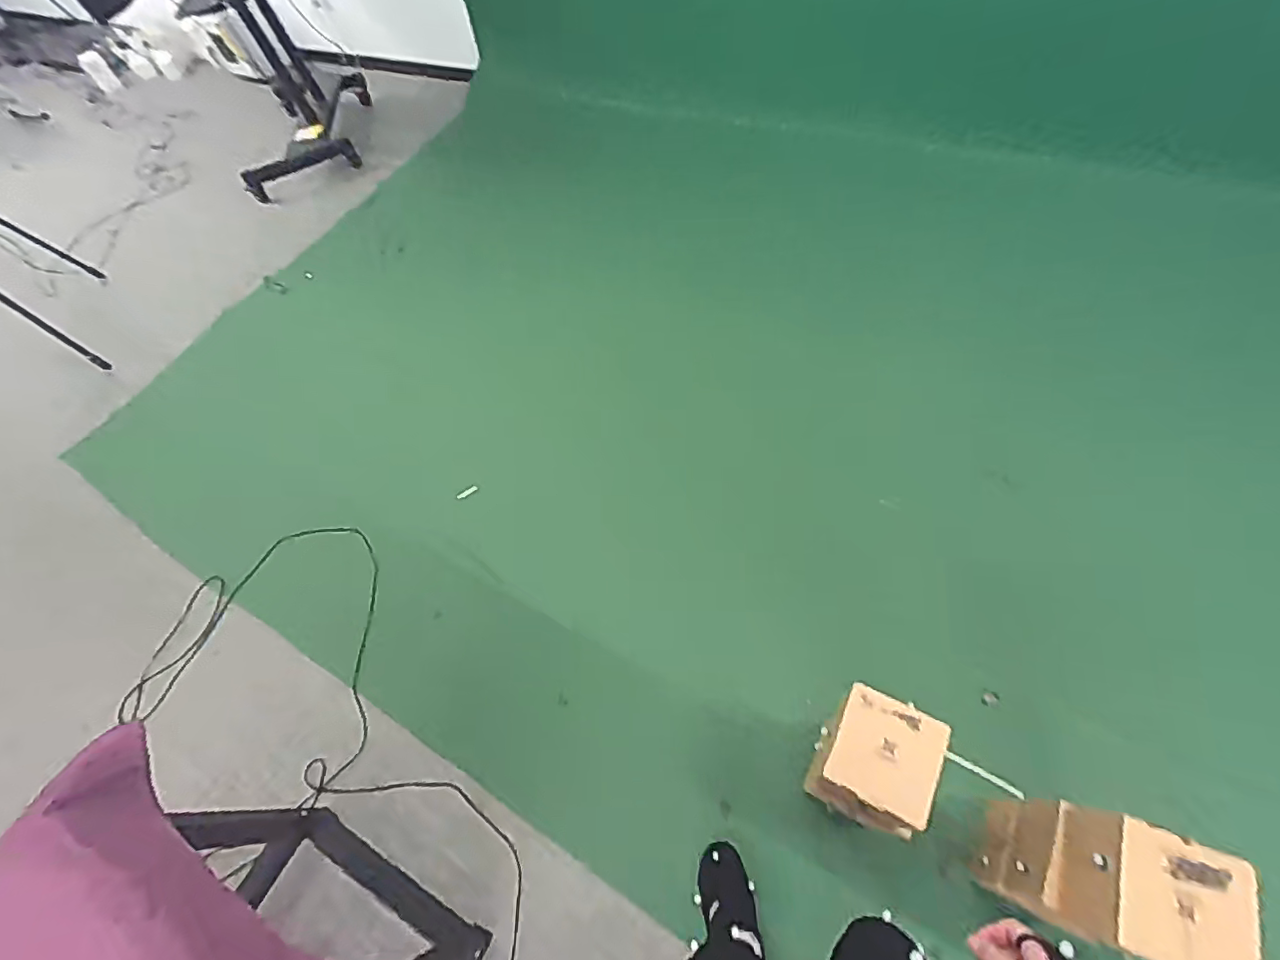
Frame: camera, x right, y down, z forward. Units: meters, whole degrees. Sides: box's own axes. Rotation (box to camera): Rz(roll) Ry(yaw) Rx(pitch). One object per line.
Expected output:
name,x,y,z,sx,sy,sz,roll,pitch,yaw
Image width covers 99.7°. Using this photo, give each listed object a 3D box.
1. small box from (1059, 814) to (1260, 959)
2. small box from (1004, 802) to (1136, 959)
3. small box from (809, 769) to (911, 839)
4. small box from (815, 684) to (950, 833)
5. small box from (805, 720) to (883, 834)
small box,0.790,0.648,0.839,0.168,0.176,0.179,17,67,18
small box,0.800,0.721,0.986,0.168,0.176,0.179,23,67,20
small box,0.463,0.604,1.110,0.179,0.176,0.168,22,66,20
small box,0.429,0.504,0.983,0.168,0.176,0.179,23,67,22
small box,0.492,0.683,1.252,0.168,0.176,0.179,22,65,21
